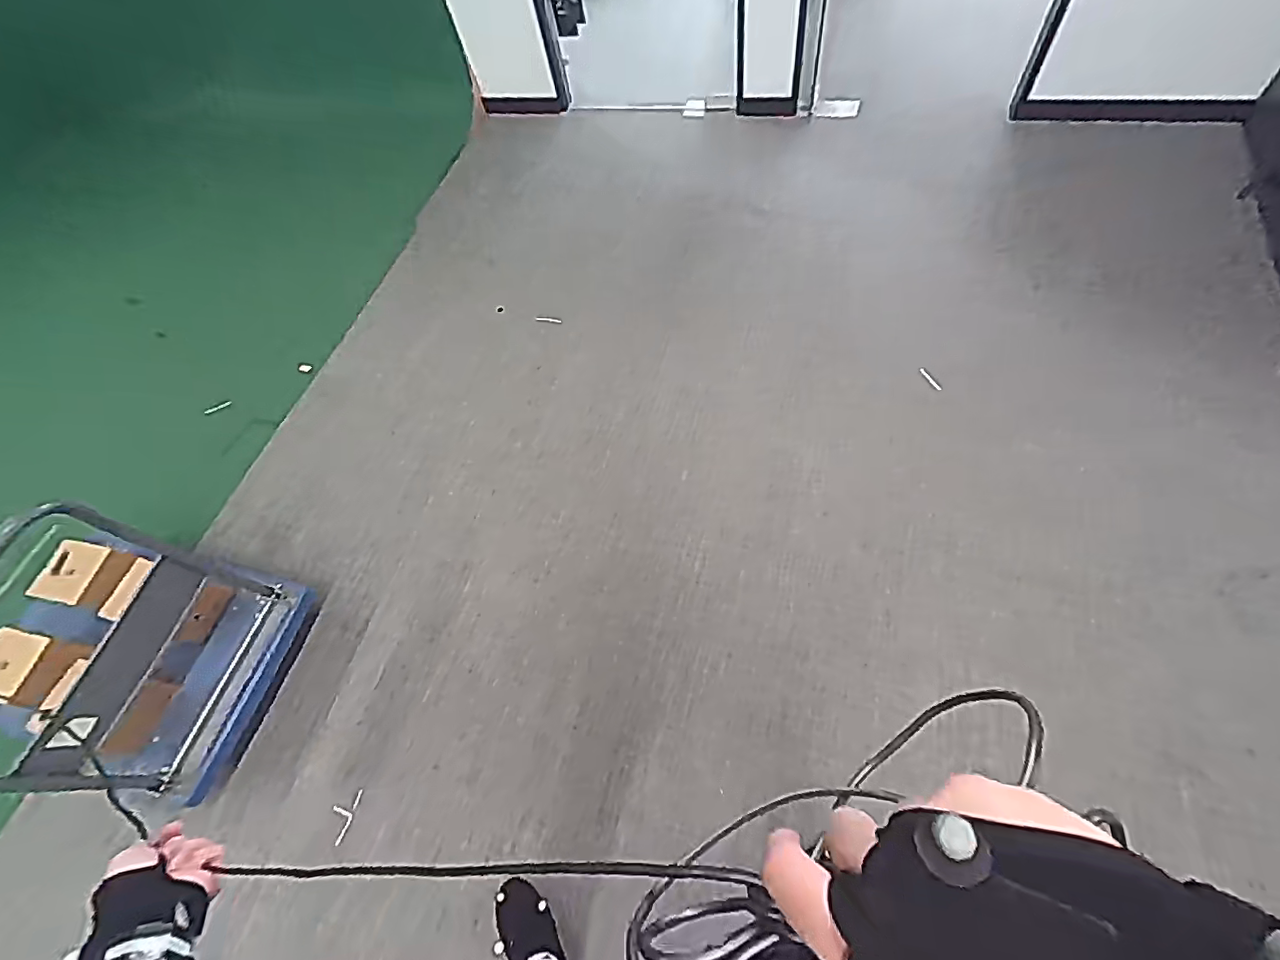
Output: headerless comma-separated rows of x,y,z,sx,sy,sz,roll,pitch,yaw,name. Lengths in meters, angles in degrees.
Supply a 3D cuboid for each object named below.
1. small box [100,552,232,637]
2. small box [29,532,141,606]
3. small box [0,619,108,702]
-1.297,0.320,1.492,0.179,0.176,0.168,13,64,14,small box
-1.554,0.267,1.556,0.179,0.176,0.168,9,64,11,small box
-1.607,0.487,1.446,0.179,0.176,0.168,8,63,12,small box
